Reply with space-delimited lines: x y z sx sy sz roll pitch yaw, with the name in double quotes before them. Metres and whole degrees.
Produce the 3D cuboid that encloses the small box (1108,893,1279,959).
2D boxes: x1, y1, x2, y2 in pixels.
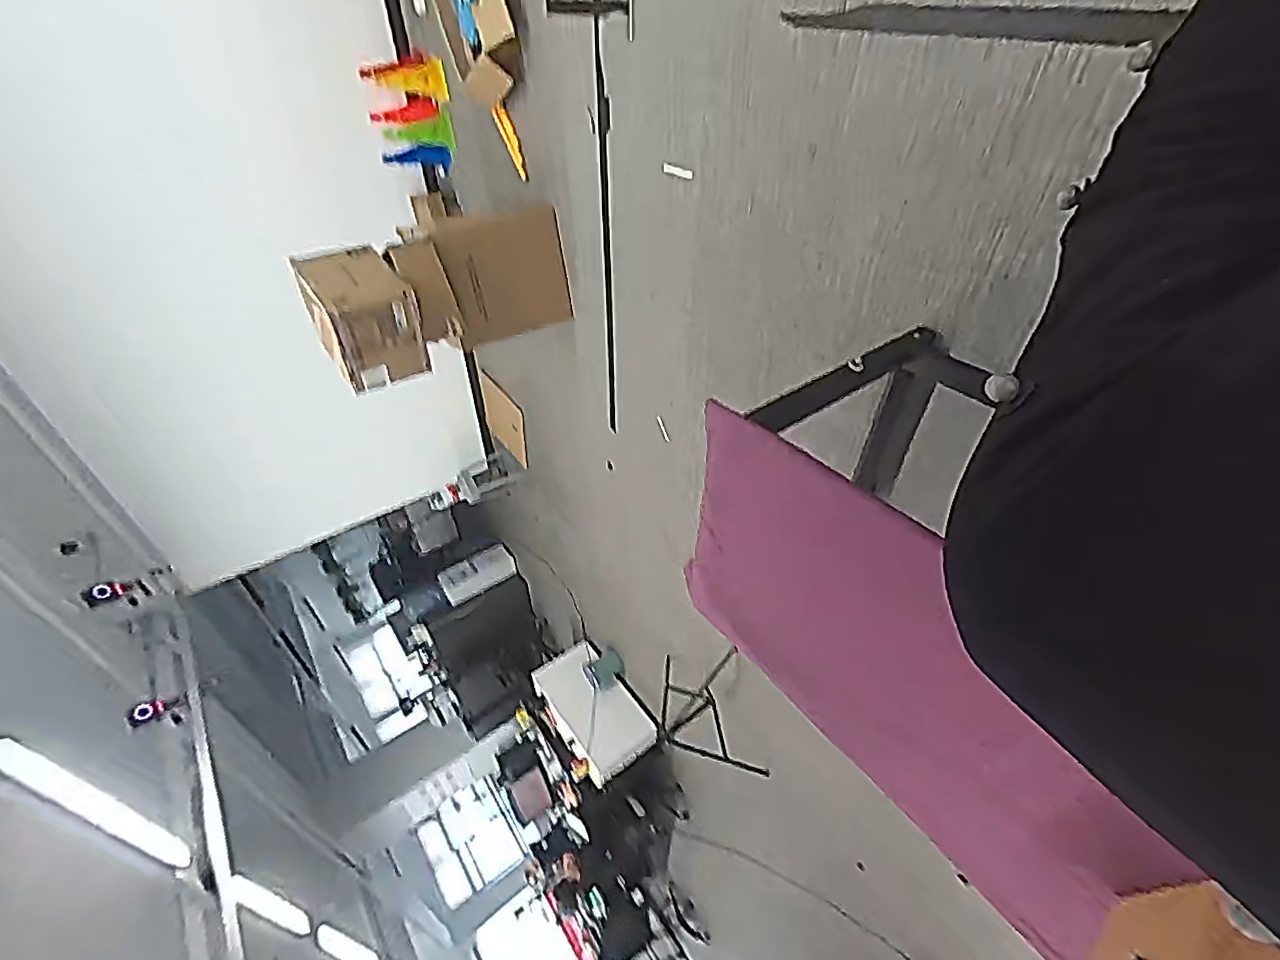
"small box" 0.677 0.619 0.621 0.168 0.176 0.179 45 147 32
